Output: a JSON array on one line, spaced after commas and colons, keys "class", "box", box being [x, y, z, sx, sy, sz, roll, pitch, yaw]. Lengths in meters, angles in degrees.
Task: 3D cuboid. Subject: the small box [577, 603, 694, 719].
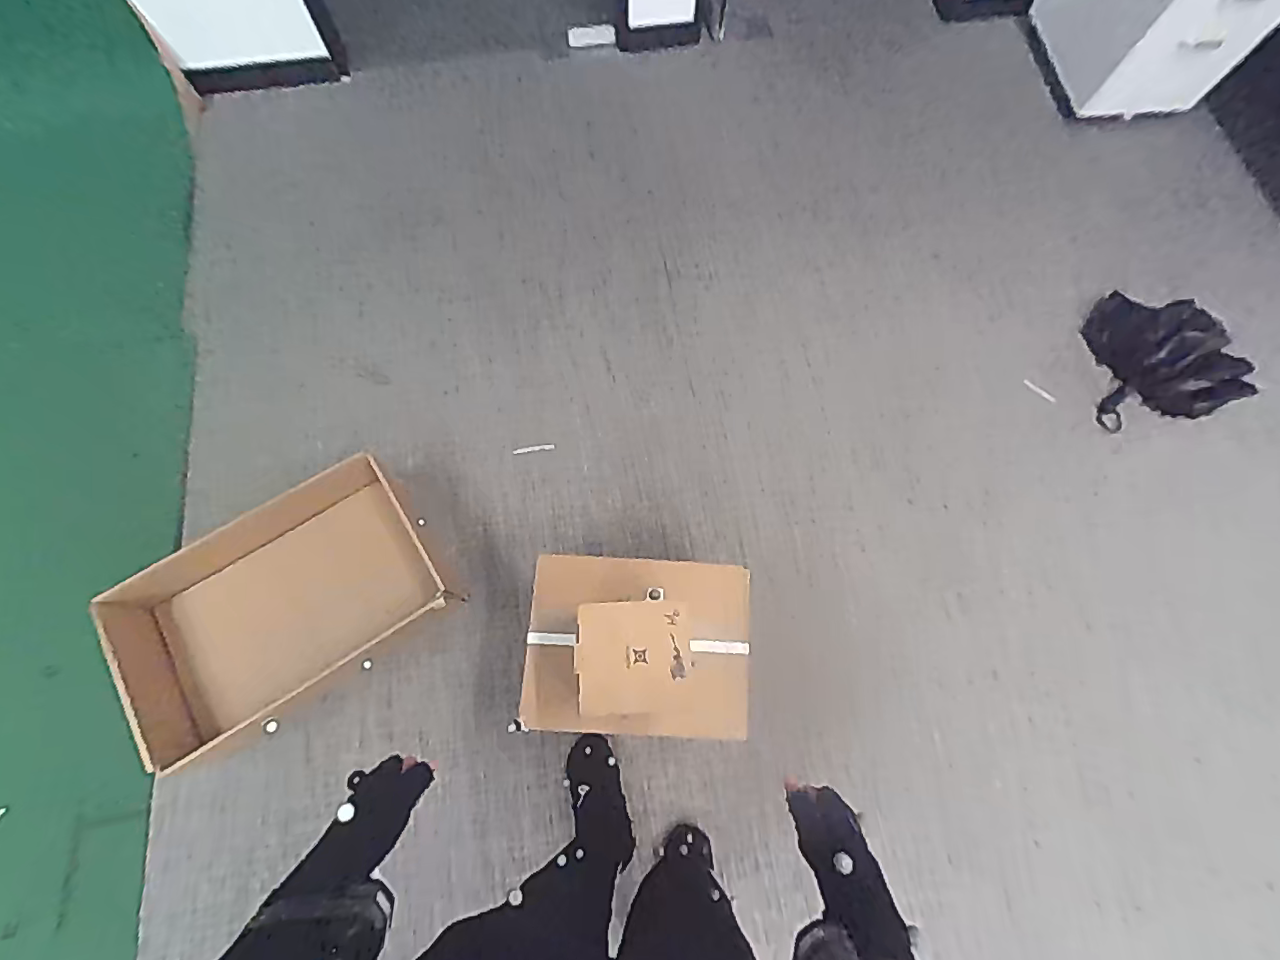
[{"class": "small box", "box": [-0.009, 0.299, 0.898, 0.179, 0.176, 0.168, -2, 72, -2]}]
